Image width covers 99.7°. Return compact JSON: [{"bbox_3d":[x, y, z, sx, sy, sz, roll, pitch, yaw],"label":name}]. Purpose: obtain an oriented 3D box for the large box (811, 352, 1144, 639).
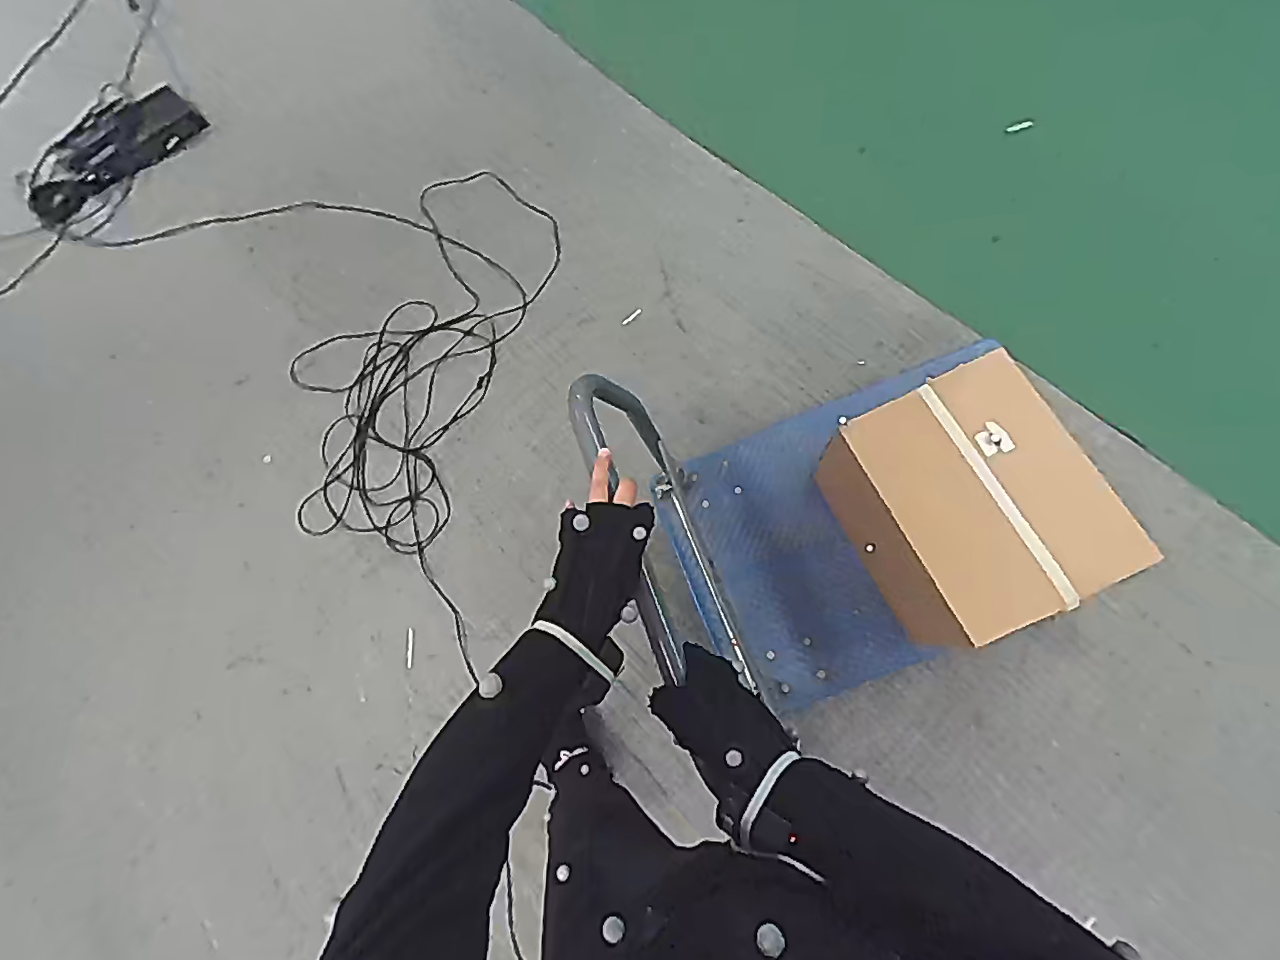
[{"bbox_3d":[0.580,0.049,1.030,0.320,0.320,0.408,-27,72,1],"label":"large box"}]
